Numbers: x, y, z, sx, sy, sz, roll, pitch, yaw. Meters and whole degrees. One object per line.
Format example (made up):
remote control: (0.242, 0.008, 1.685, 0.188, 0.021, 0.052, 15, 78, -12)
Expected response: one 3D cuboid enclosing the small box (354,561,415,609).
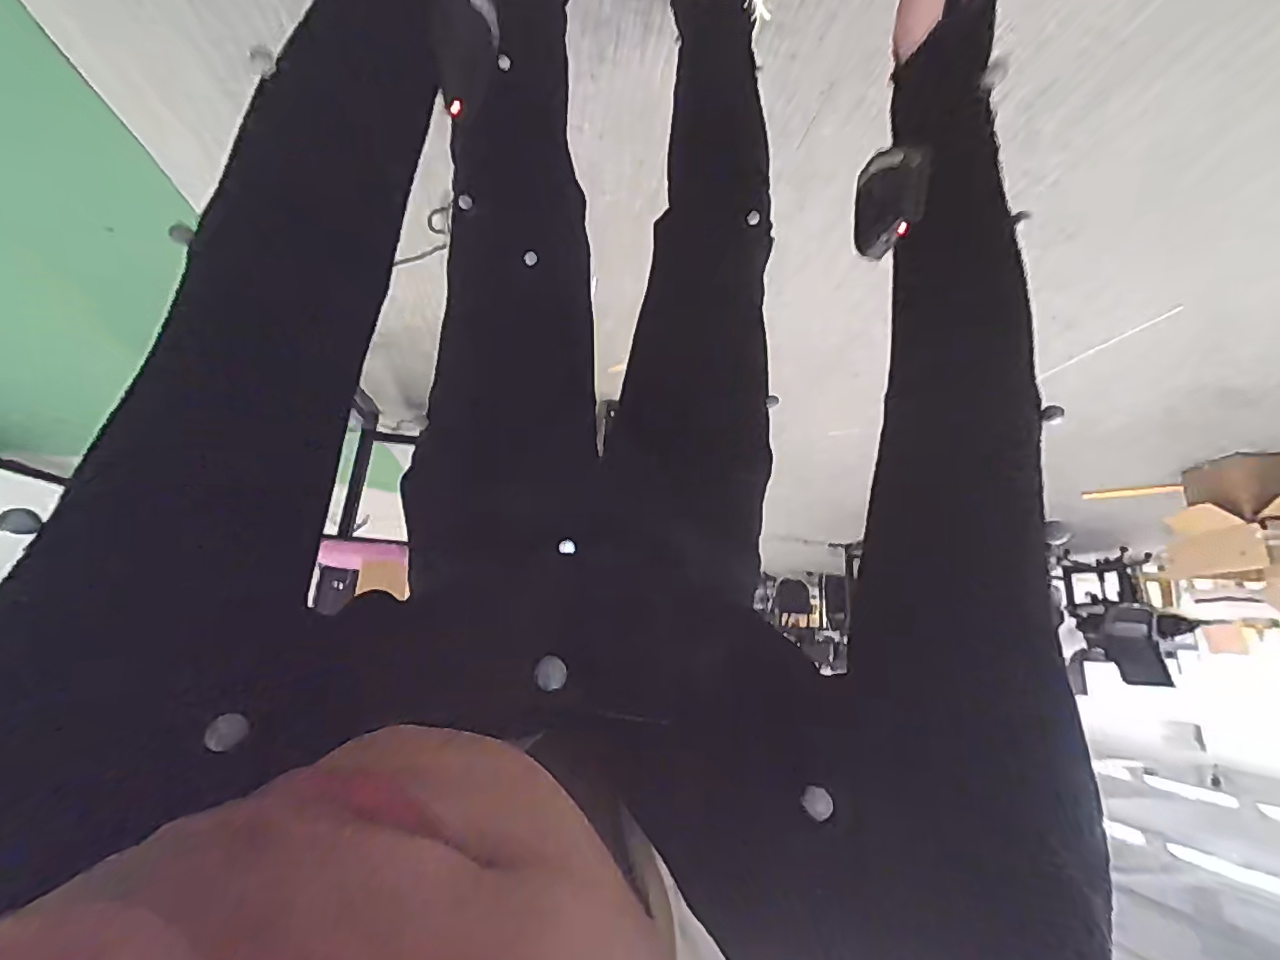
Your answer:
small box: (-0.986, 0.411, 2.103, 0.179, 0.176, 0.168, 8, 163, -12)
